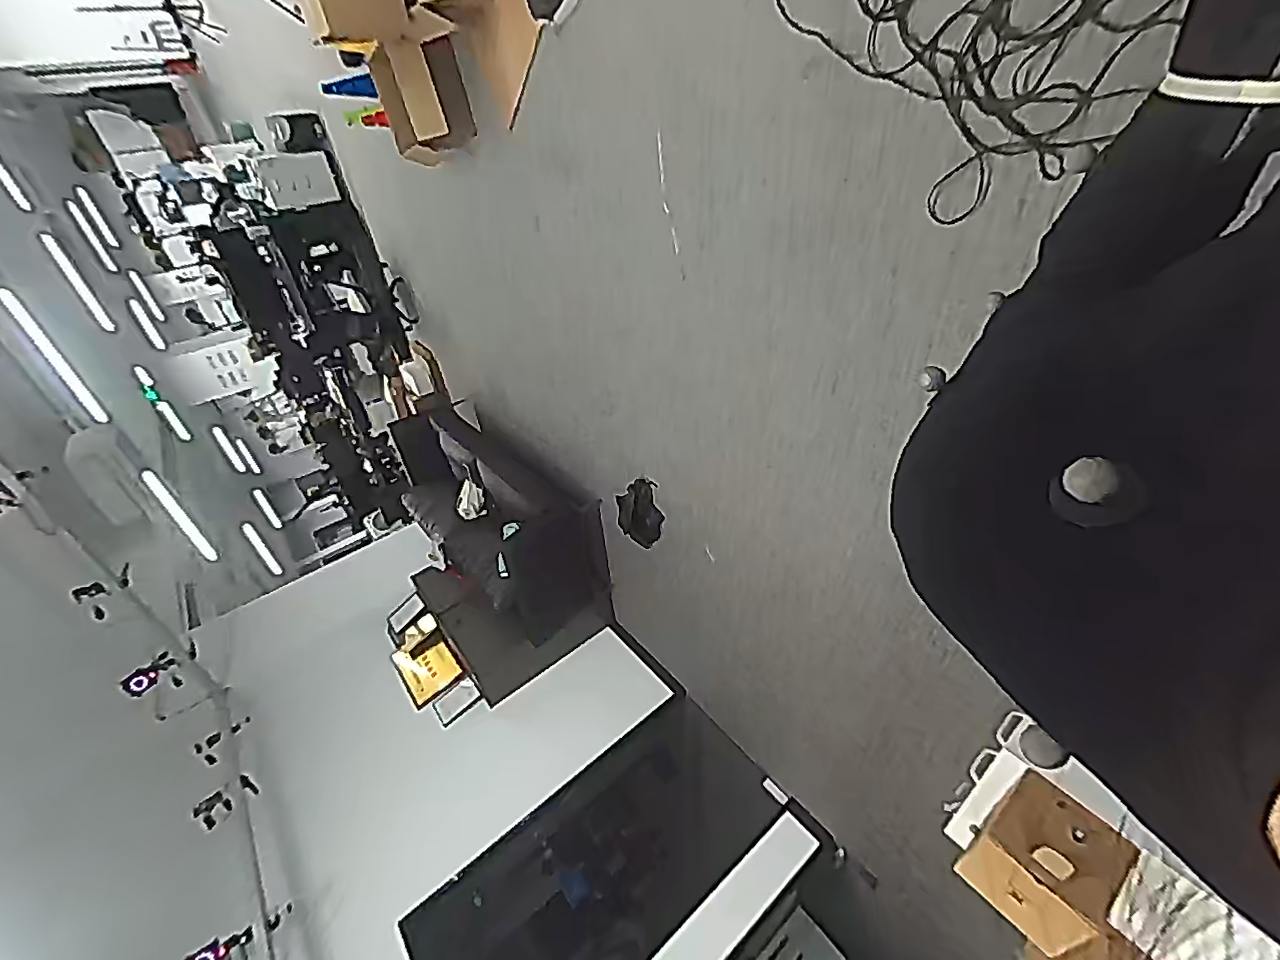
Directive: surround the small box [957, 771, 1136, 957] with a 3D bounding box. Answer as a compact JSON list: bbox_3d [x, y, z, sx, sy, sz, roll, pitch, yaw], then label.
[{"bbox_3d":[0.683,0.642,0.916,0.168,0.176,0.179,36,144,39],"label":"small box"}]
